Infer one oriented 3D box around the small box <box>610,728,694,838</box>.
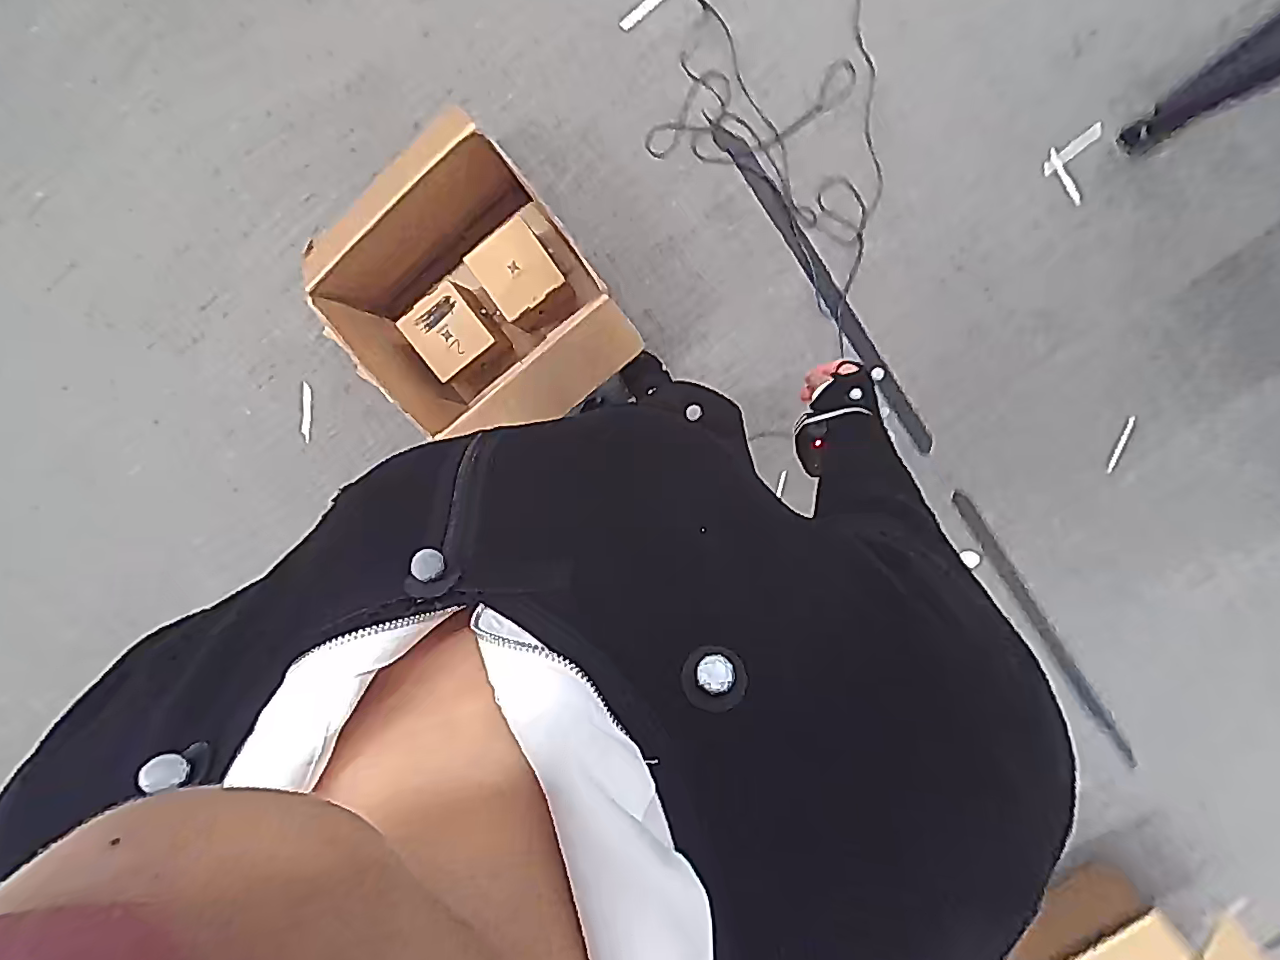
[{"bbox_3d":[0.036,0.850,1.533,0.168,0.176,0.179,-35,97,6],"label":"small box"}]
